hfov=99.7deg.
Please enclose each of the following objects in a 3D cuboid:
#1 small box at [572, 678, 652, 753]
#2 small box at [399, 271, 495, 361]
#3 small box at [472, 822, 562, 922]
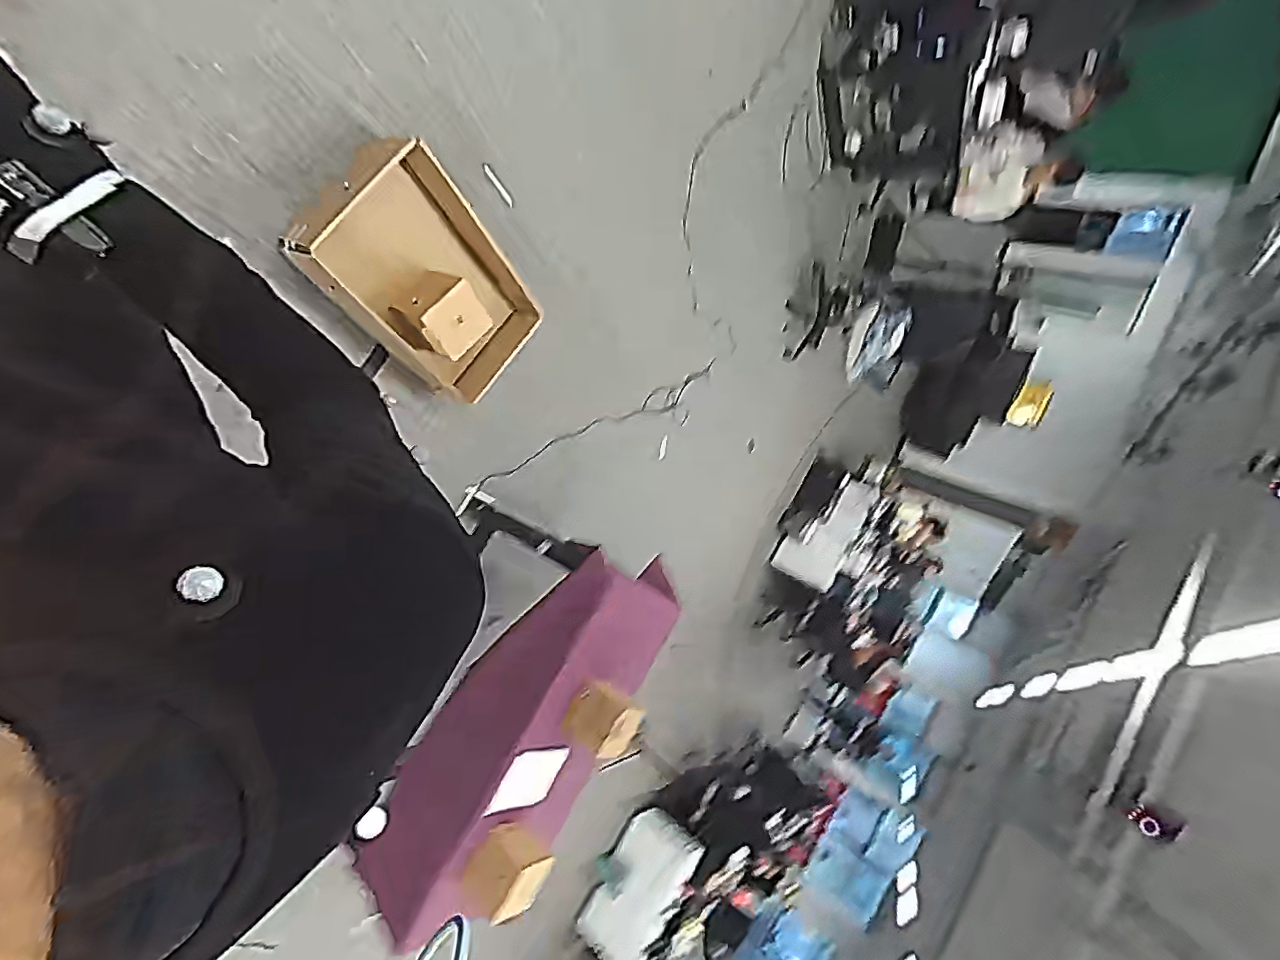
[{"bbox_3d":[-0.095,0.774,1.787,0.168,0.176,0.179,-60,148,-8],"label":"small box"},{"bbox_3d":[-0.563,-0.477,1.559,0.179,0.176,0.168,-52,145,-19],"label":"small box"},{"bbox_3d":[-0.378,1.183,1.654,0.179,0.176,0.168,-59,147,-9],"label":"small box"}]
